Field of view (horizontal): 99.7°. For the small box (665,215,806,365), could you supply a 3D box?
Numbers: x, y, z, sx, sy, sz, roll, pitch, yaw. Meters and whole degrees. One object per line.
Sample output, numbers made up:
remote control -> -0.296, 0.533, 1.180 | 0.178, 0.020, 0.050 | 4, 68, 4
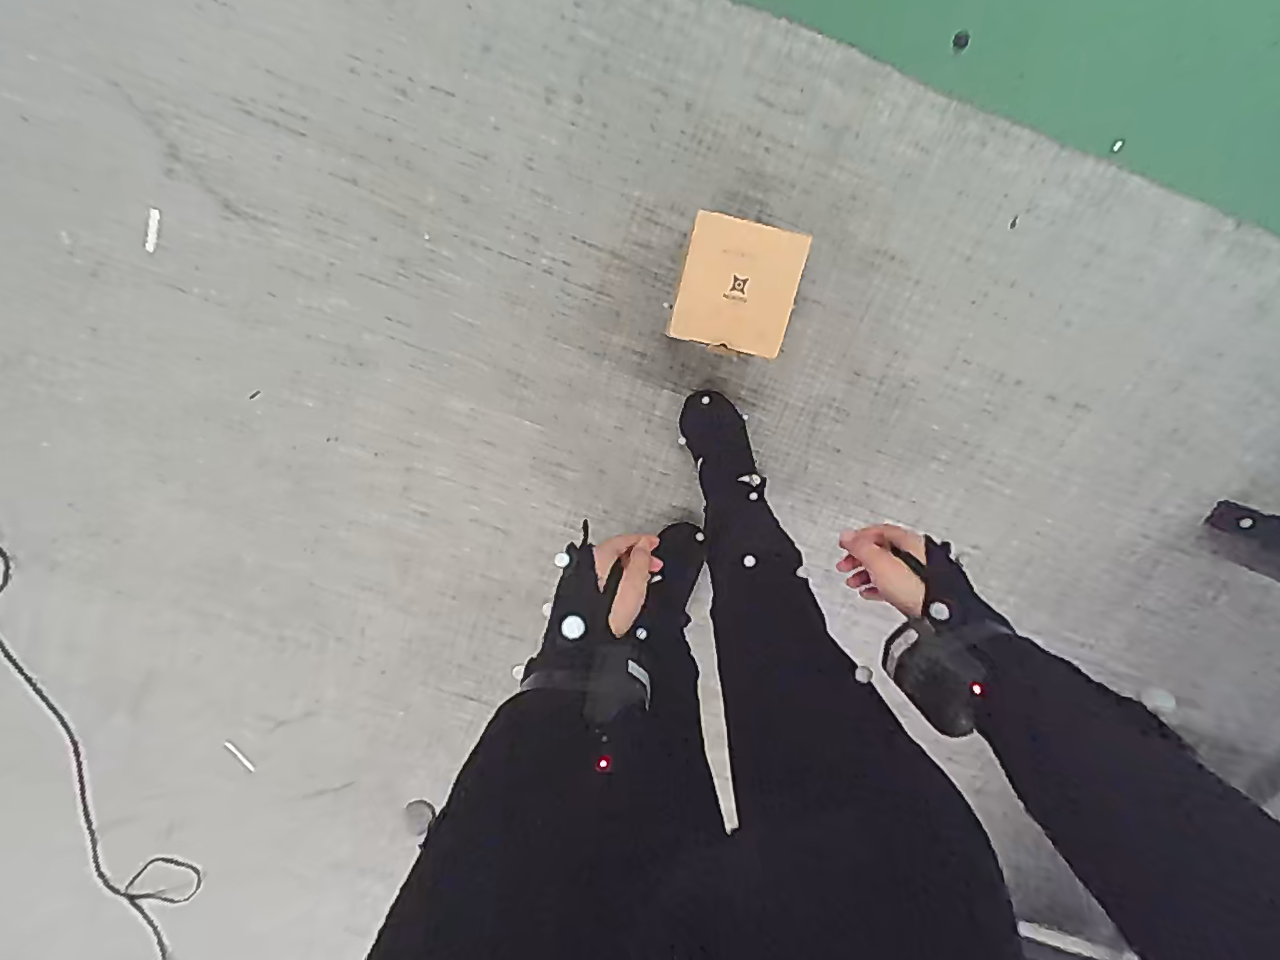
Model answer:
small box -> 0.137, -0.289, 0.846 | 0.168, 0.176, 0.179 | 12, 105, -3
